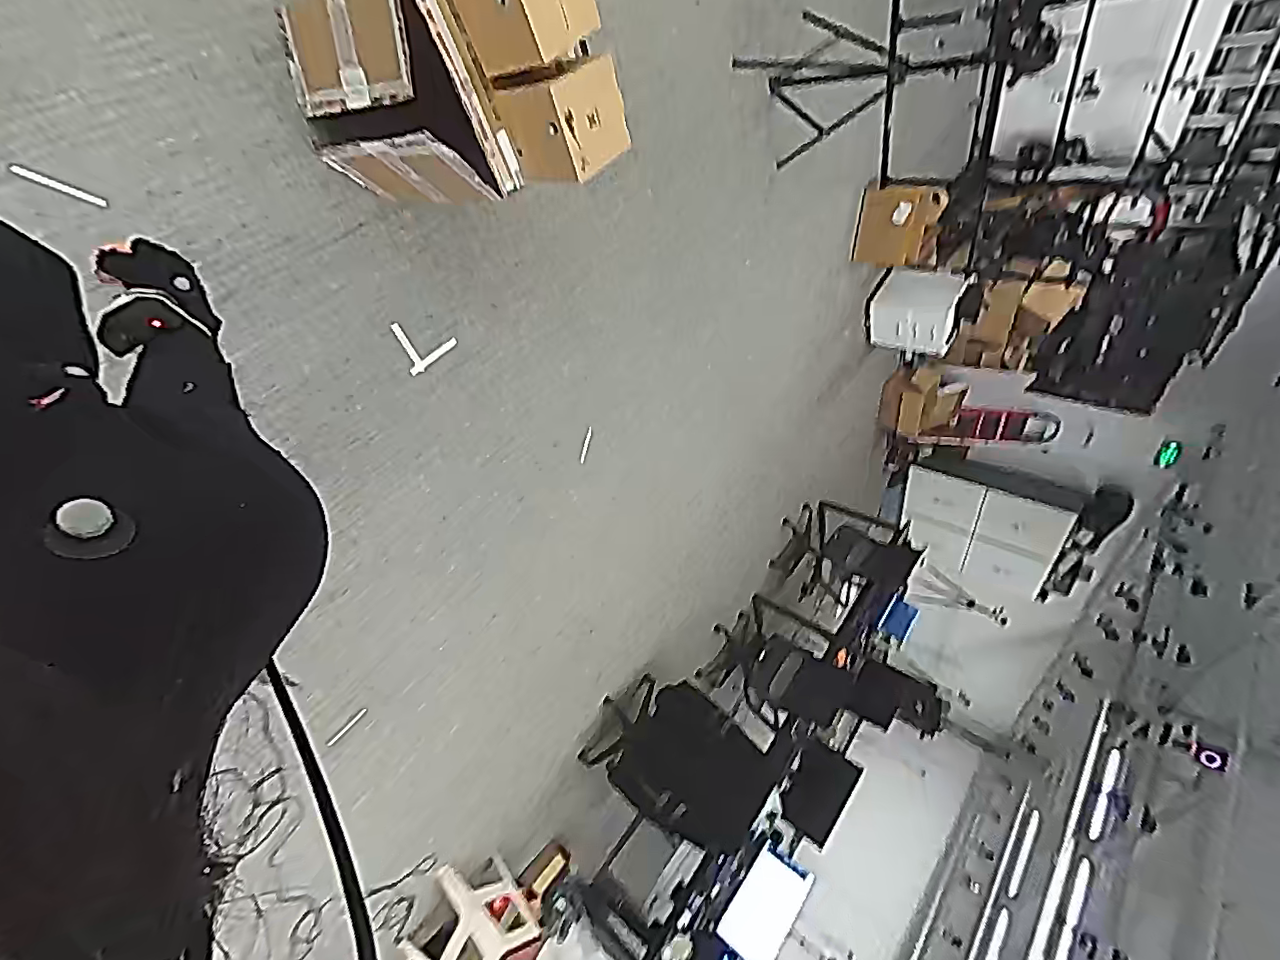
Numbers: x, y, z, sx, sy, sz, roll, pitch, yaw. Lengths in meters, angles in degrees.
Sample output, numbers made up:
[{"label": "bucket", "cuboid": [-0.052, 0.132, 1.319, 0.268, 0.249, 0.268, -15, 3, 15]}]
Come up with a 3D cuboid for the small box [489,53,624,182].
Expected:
[{"label": "small box", "cuboid": [-0.162, -0.718, 1.072, 0.179, 0.176, 0.168, -50, 144, -26]}]

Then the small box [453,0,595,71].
[{"label": "small box", "cuboid": [-0.213, -0.845, 0.929, 0.168, 0.176, 0.179, -52, 142, -23]}]
